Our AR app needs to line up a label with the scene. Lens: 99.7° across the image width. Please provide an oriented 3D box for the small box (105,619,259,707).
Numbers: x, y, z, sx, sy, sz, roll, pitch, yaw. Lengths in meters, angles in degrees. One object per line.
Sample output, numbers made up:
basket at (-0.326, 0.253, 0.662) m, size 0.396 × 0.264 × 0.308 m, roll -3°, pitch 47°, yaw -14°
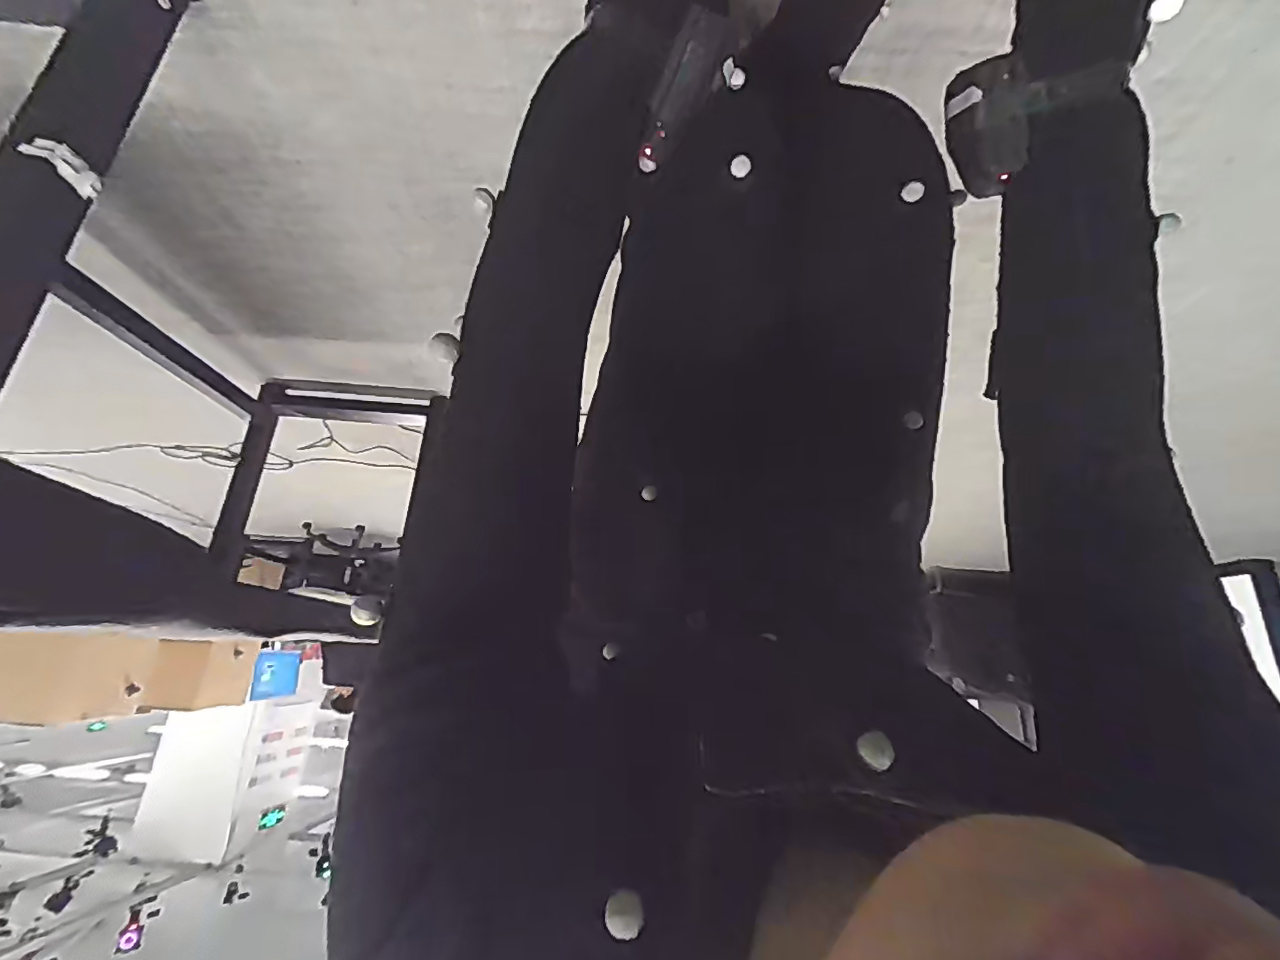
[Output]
small box at (-0.988, 0.398, 1.187) m, size 0.179 × 0.176 × 0.168 m, roll 4°, pitch 162°, yaw -1°
